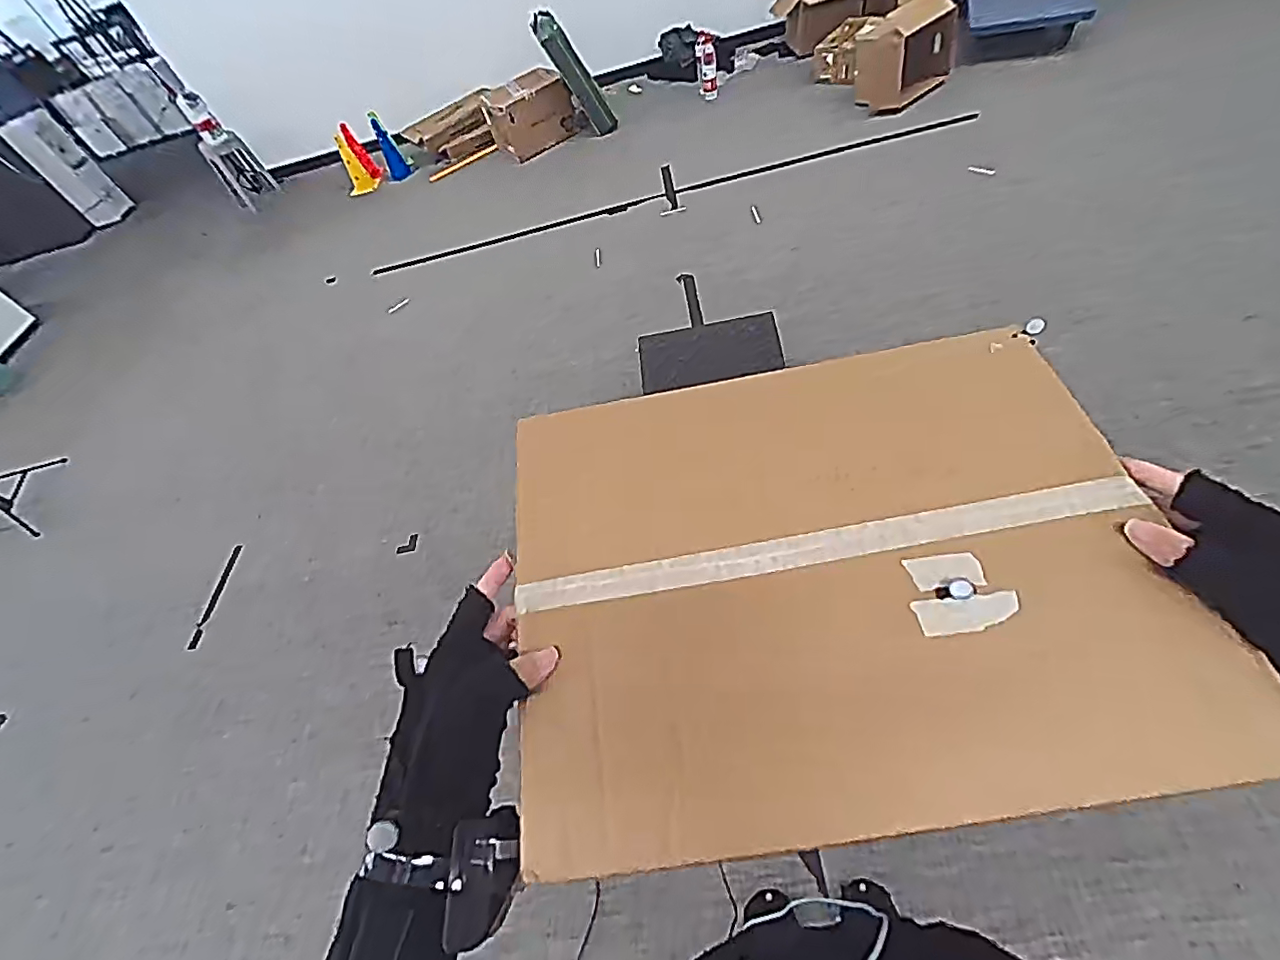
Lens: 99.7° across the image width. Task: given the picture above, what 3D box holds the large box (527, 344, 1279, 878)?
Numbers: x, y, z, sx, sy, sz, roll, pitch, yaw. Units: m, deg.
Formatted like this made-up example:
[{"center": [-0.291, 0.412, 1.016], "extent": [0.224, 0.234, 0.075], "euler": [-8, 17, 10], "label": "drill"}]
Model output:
[{"center": [0.138, 0.130, 0.492], "extent": [0.408, 0.320, 0.320], "euler": [-10, 58, 2], "label": "large box"}]
